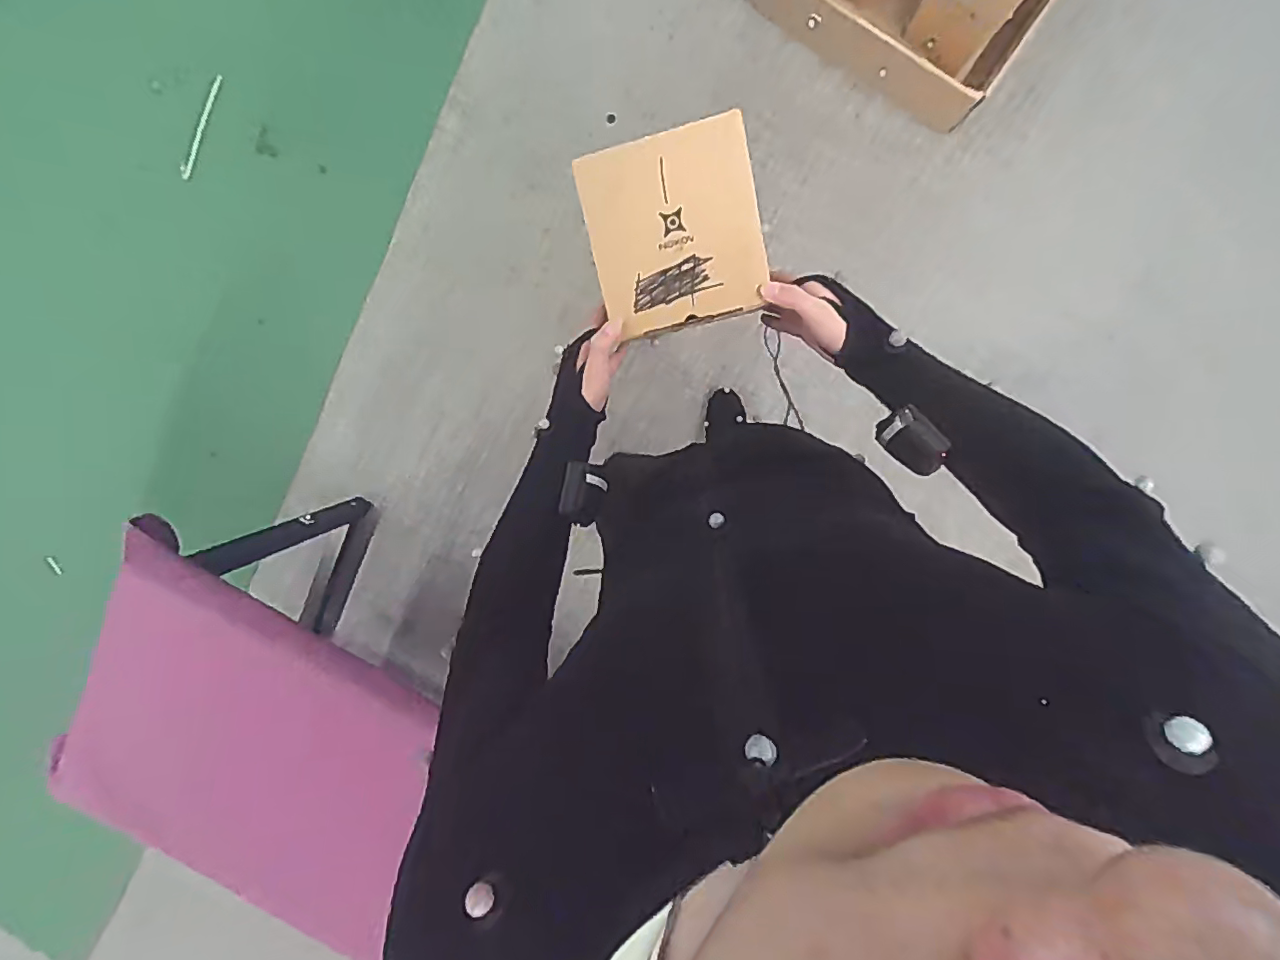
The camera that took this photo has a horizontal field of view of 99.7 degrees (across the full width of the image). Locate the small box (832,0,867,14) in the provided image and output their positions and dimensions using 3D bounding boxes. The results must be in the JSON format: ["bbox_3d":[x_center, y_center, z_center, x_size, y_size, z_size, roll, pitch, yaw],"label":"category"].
[{"bbox_3d":[0.503,-1.238,1.229,0.168,0.176,0.179,34,100,0],"label":"small box"}]

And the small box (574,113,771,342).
[{"bbox_3d":[0.042,-0.257,0.596,0.168,0.176,0.179,-11,102,9],"label":"small box"}]

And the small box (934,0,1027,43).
[{"bbox_3d":[0.727,-1.038,1.069,0.168,0.176,0.179,36,101,0],"label":"small box"}]

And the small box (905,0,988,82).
[{"bbox_3d":[0.742,-1.072,1.229,0.168,0.176,0.179,35,102,0],"label":"small box"}]
